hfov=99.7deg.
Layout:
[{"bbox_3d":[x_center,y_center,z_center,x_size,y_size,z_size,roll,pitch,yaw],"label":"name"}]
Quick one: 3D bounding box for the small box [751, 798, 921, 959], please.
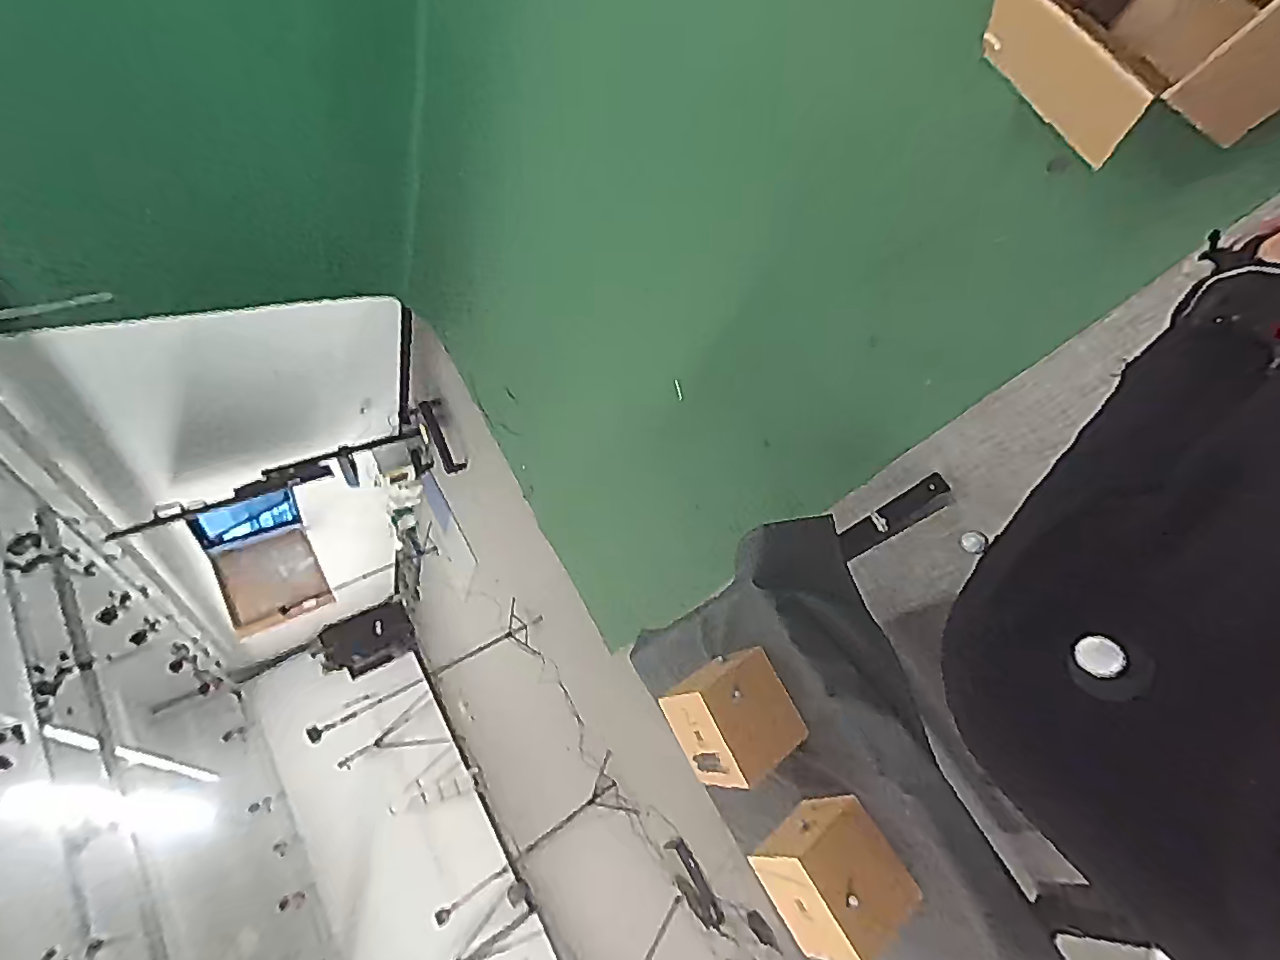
[{"bbox_3d":[0.334,0.676,0.930,0.179,0.176,0.168,55,144,17],"label":"small box"}]
